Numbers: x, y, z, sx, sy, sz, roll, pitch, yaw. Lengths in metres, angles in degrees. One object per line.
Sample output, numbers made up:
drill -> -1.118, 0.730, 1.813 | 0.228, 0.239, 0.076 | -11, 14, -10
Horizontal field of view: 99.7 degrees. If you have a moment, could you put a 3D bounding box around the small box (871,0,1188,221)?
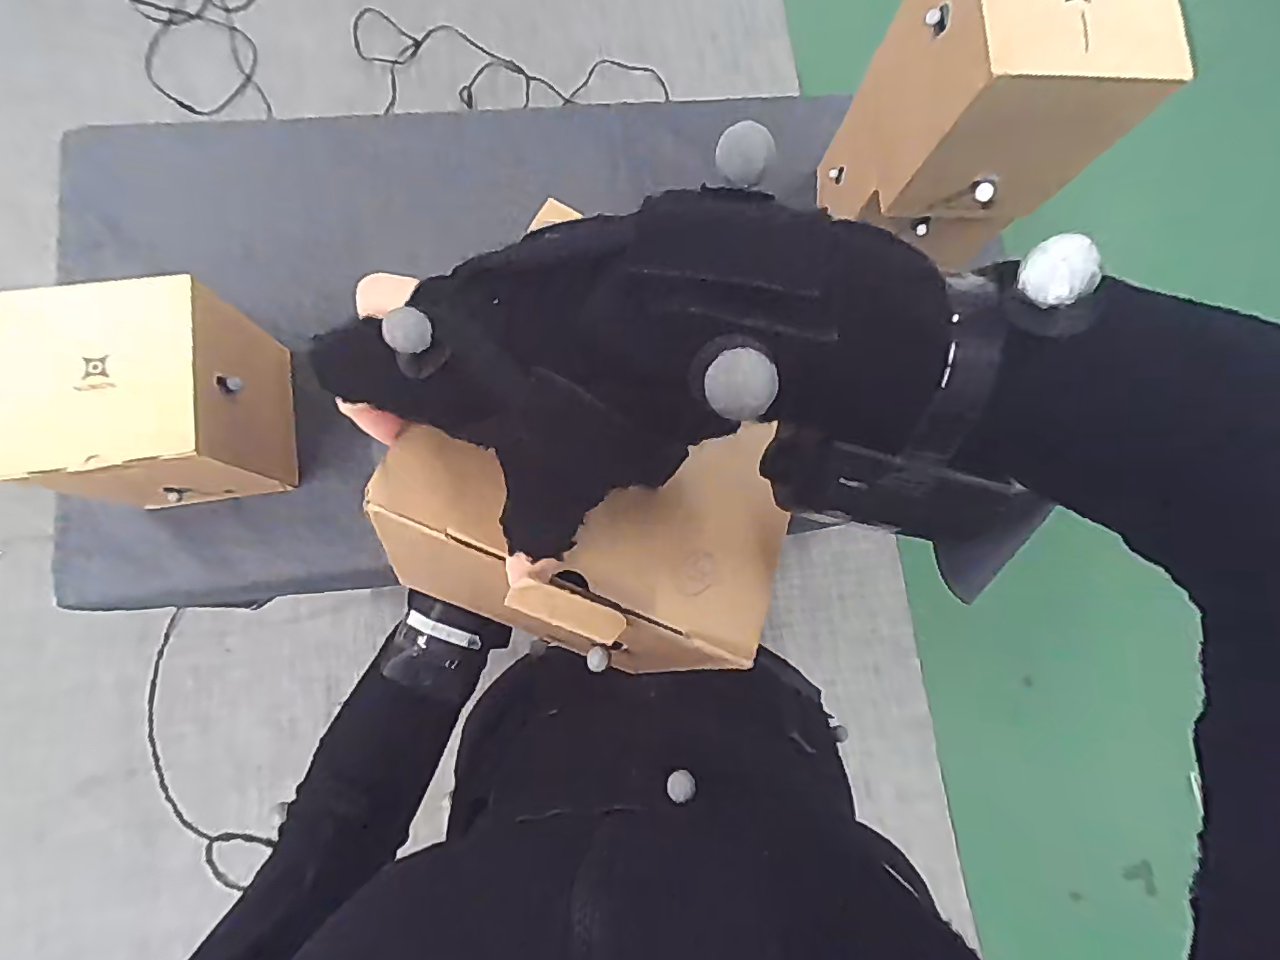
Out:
small box -> 0.336, -0.376, 0.506 | 0.168, 0.176, 0.179 | -1, 81, -3

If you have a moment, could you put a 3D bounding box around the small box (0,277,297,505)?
small box -> -0.484, -0.080, 0.558 | 0.168, 0.176, 0.179 | -9, 80, -6

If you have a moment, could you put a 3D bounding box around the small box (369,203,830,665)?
small box -> -0.023, -0.004, 0.313 | 0.168, 0.176, 0.179 | 25, 64, -9

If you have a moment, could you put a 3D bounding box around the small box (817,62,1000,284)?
small box -> 0.332, -0.365, 0.670 | 0.179, 0.176, 0.168 | 5, 80, -3
